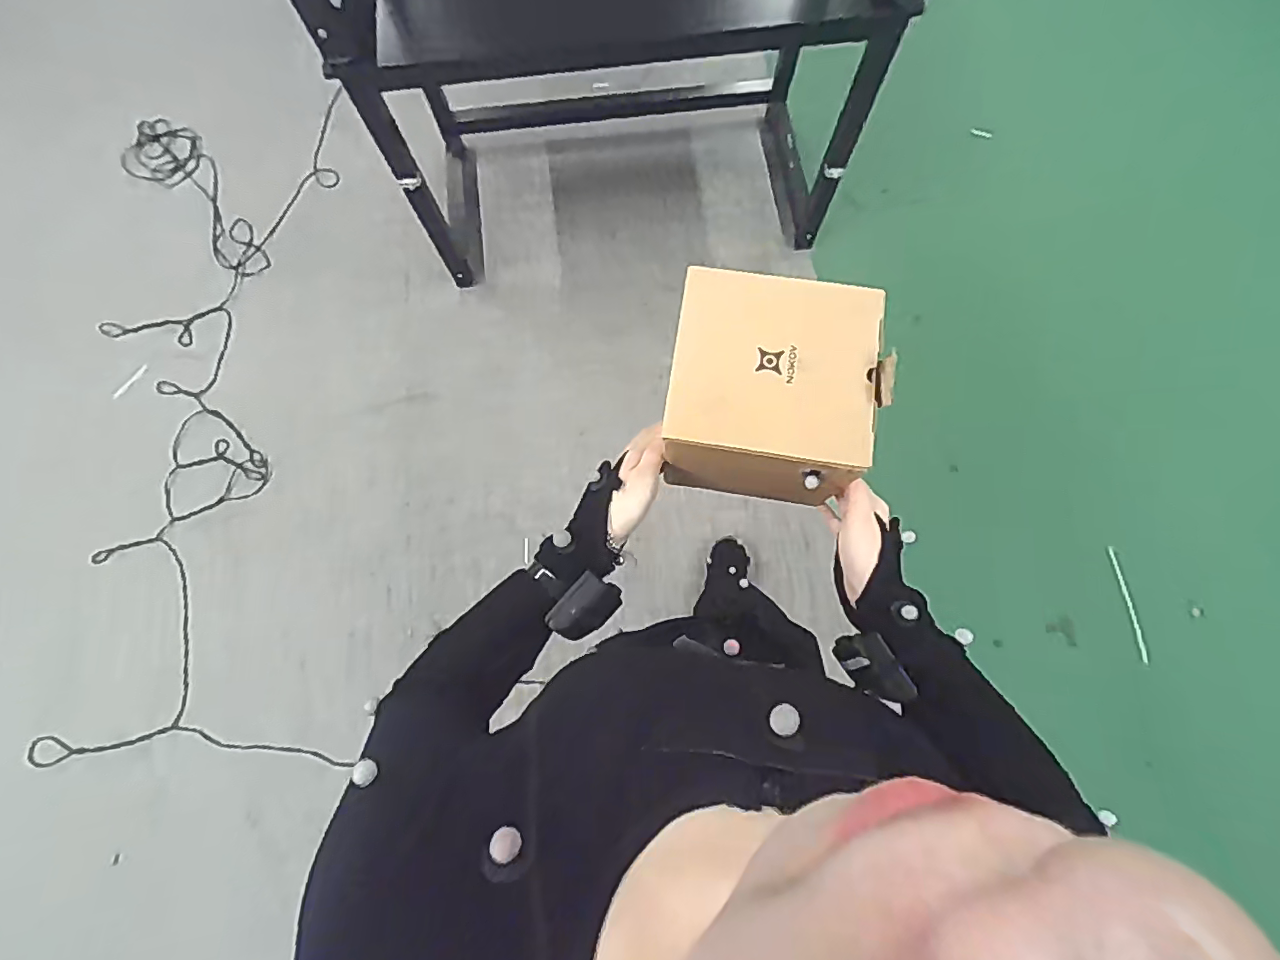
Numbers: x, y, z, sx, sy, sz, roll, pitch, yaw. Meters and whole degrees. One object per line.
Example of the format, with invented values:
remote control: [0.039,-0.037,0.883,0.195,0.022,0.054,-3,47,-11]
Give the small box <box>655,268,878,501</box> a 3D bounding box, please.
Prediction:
small box: [0.114,-0.082,0.539,0.179,0.176,0.168,8,76,4]
